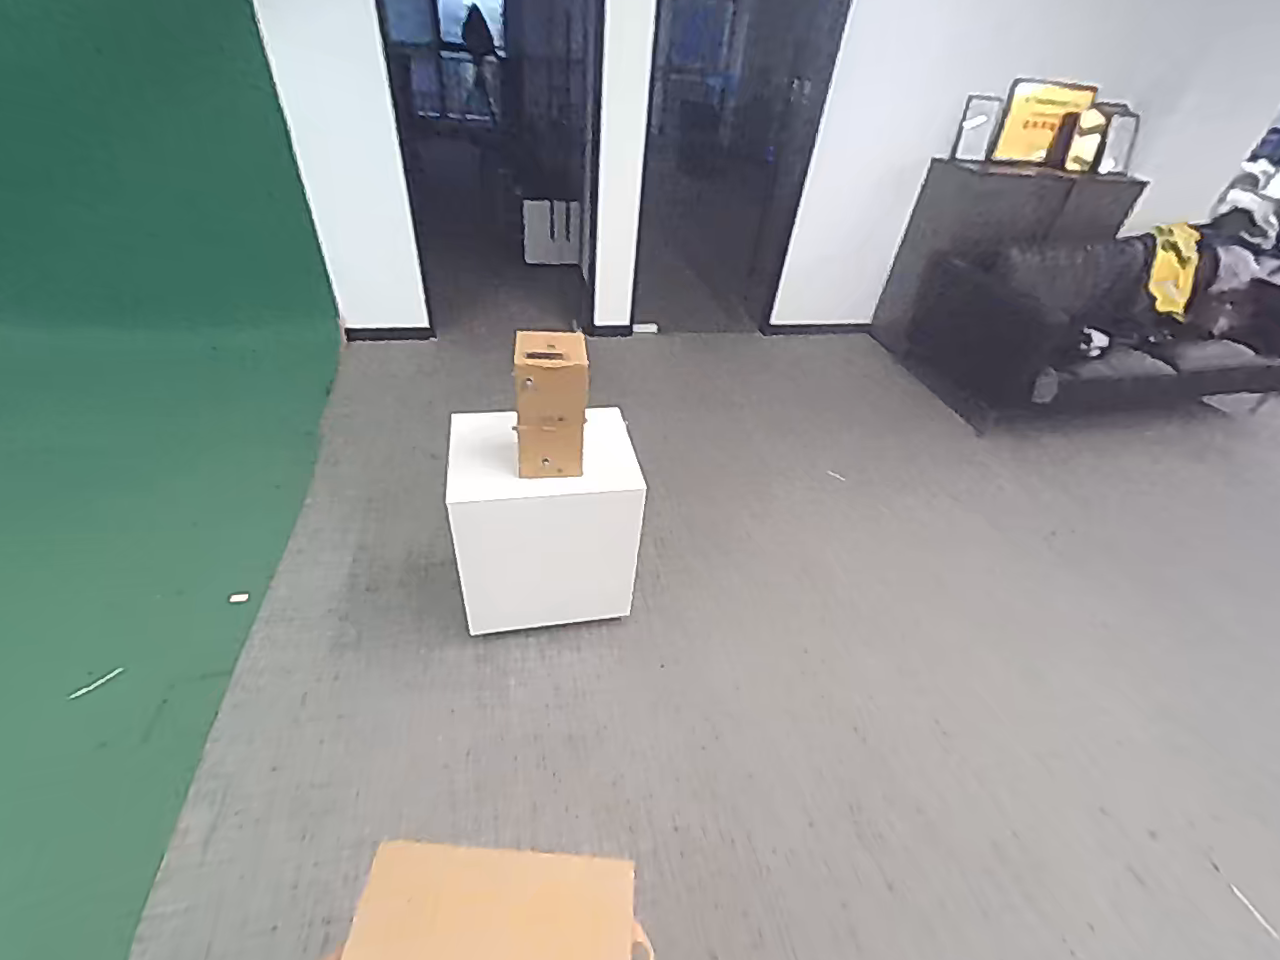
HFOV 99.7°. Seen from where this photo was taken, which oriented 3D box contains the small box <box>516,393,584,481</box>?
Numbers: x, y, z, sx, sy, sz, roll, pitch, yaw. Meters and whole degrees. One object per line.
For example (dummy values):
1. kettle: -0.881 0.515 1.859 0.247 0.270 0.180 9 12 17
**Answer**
1. small box: -0.241 -0.115 1.435 0.168 0.176 0.179 -2 39 -11
